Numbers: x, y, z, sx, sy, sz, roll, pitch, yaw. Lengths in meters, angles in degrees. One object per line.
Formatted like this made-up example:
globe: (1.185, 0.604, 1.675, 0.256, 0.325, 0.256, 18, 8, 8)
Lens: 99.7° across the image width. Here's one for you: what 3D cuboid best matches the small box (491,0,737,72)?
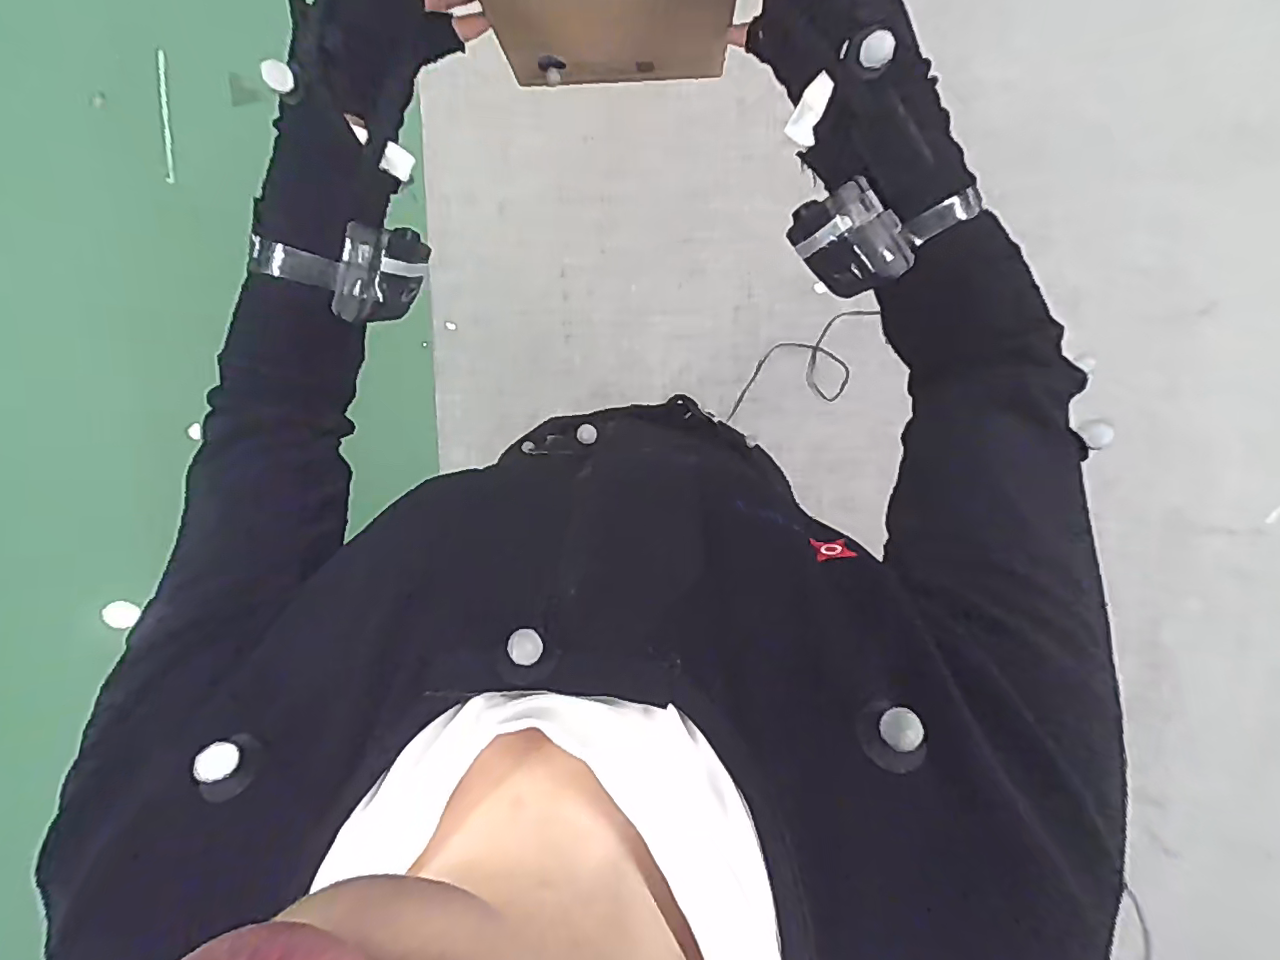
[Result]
small box: (-0.018, -0.391, 0.339, 0.168, 0.176, 0.179, -1, 99, 3)
